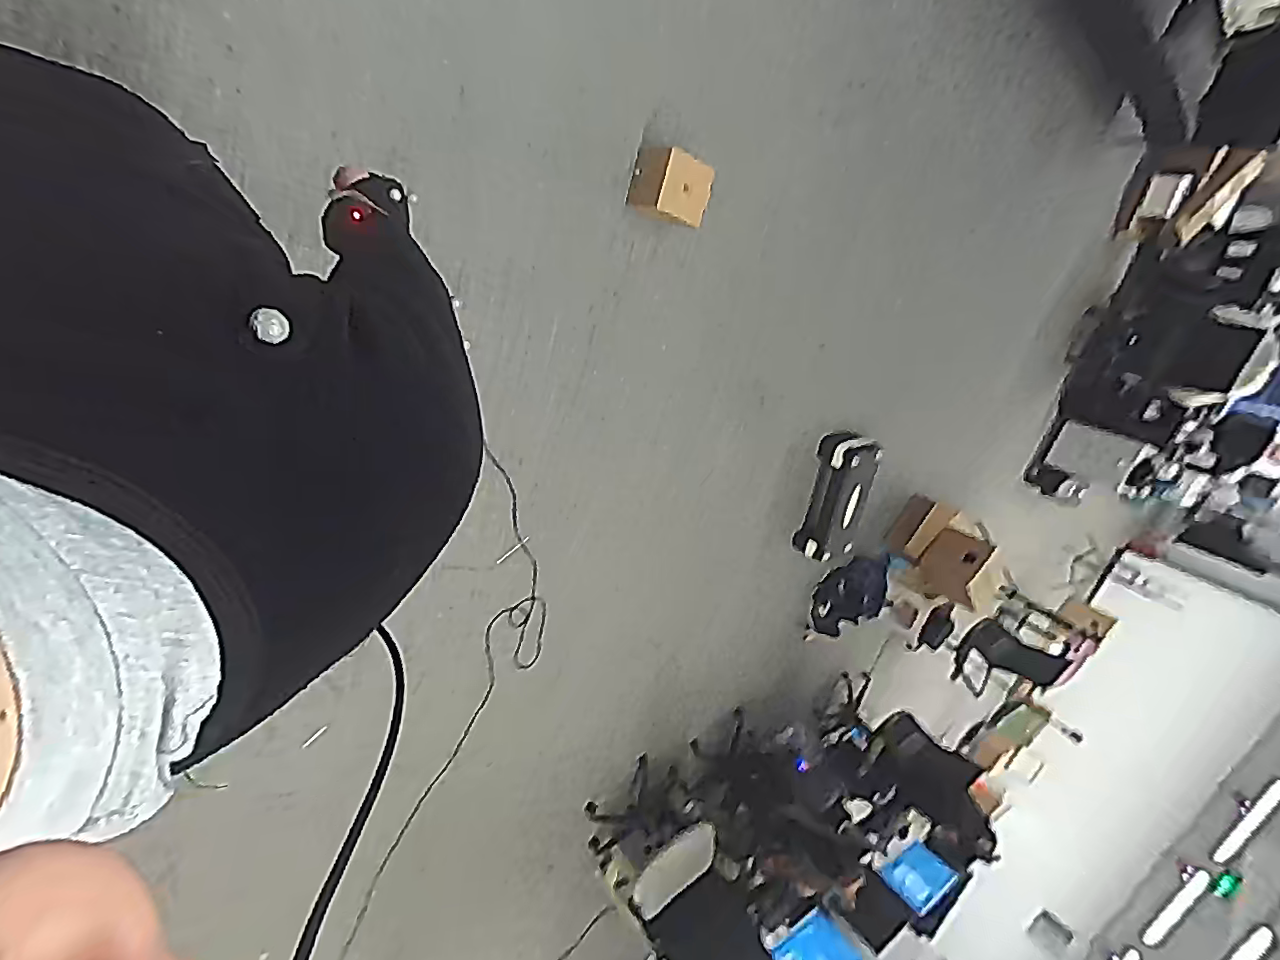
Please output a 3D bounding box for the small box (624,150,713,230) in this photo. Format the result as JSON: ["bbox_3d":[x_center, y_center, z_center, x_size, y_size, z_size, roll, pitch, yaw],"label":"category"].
[{"bbox_3d":[0.081,-0.868,1.623,0.179,0.176,0.168,2,111,-38],"label":"small box"}]
